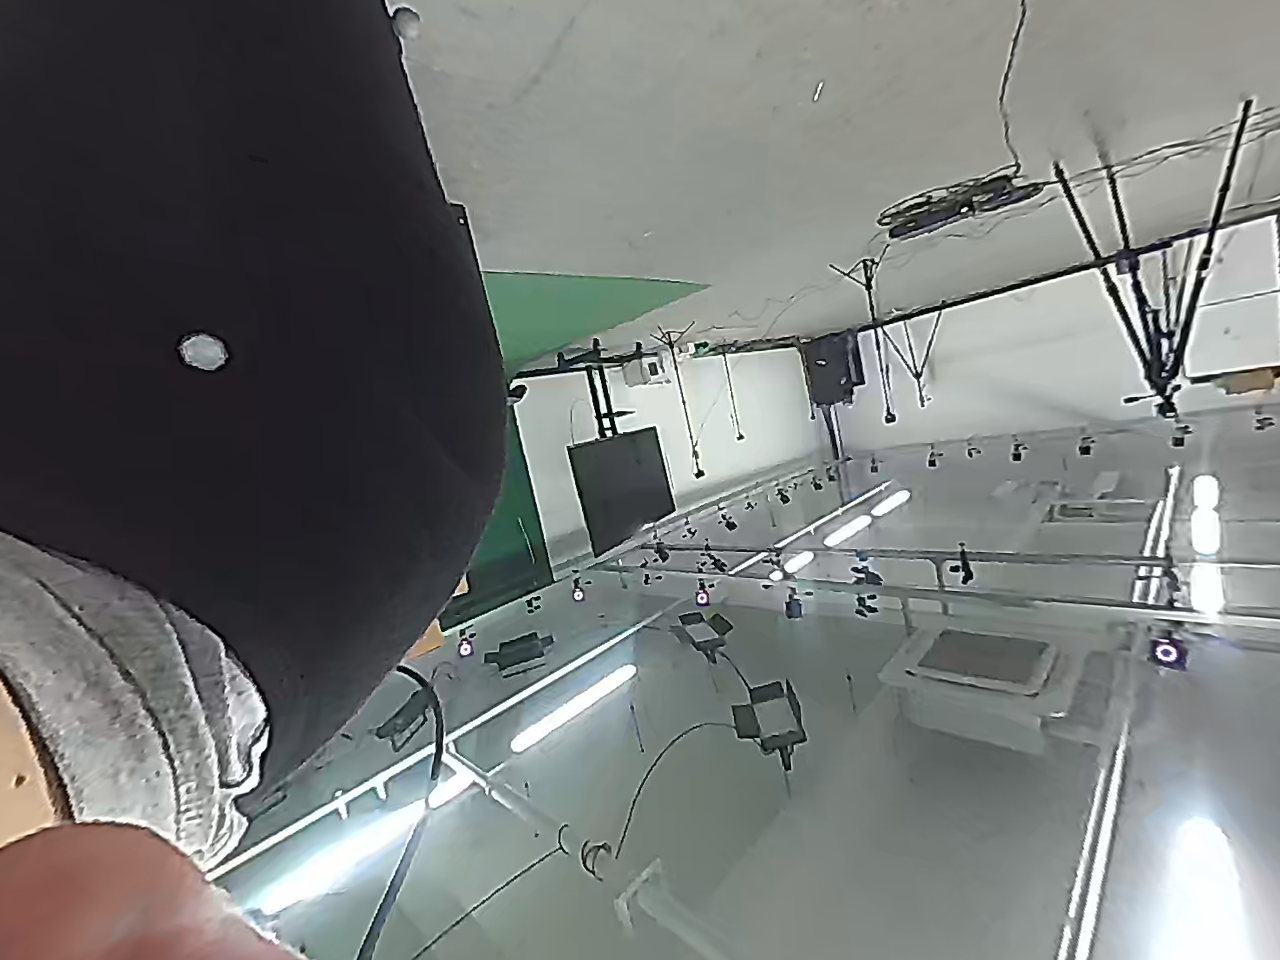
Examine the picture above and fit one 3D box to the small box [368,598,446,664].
[{"bbox_3d":[-0.838,0.538,1.939,0.168,0.176,0.179,-21,178,36],"label":"small box"}]
